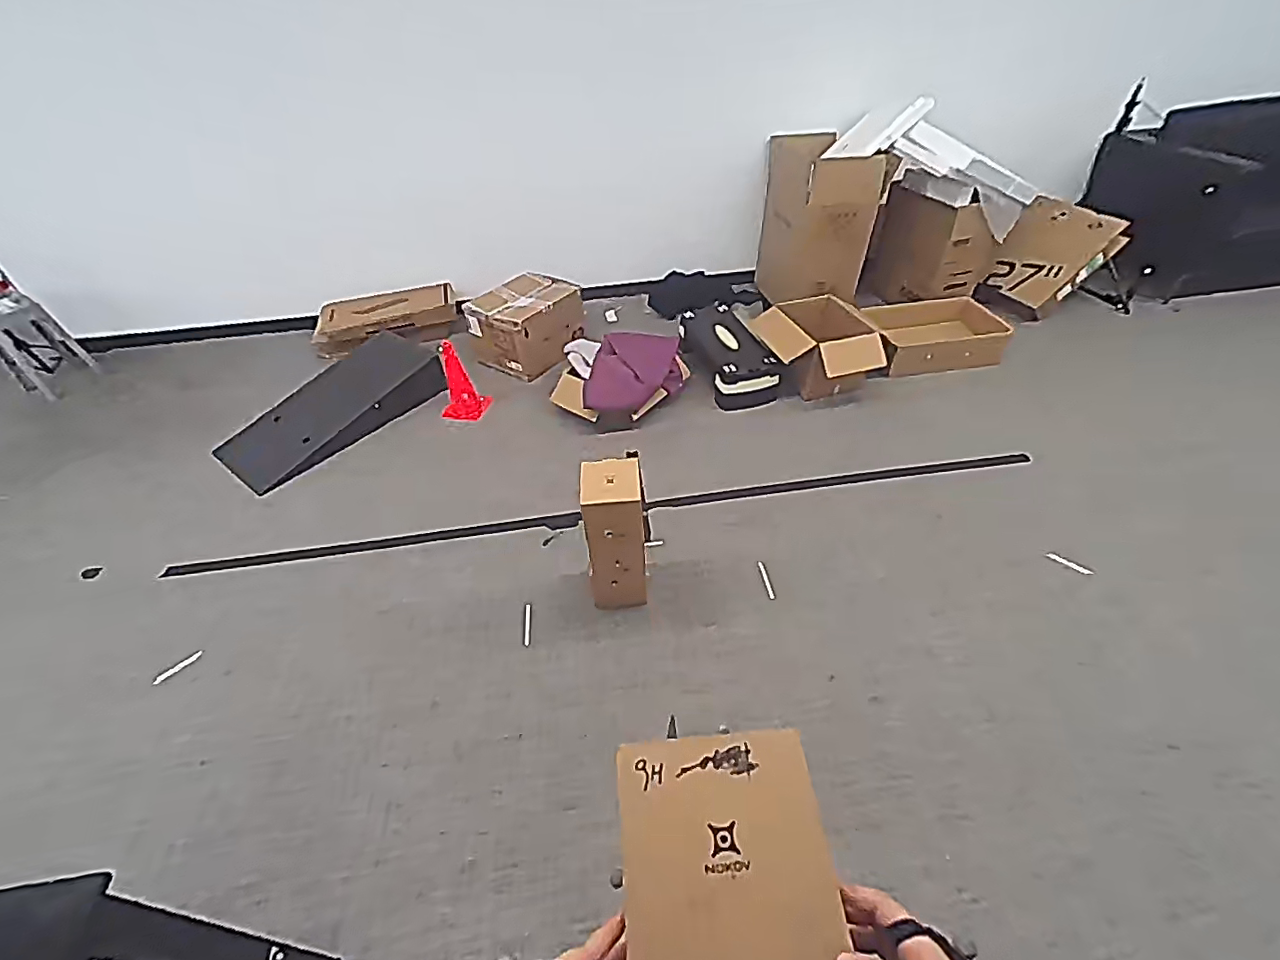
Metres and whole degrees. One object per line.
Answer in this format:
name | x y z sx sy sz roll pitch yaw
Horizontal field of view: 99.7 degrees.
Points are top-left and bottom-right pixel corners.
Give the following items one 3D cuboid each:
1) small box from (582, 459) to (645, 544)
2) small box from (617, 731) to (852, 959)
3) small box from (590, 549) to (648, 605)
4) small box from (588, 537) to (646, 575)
small box | -0.074 0.061 1.546 0.168 0.176 0.179 -5 44 0
small box | 0.070 0.346 0.490 0.168 0.176 0.179 -4 51 -2
small box | -0.068 0.295 1.775 0.179 0.176 0.168 -4 43 -1
small box | -0.069 0.171 1.667 0.168 0.176 0.179 -5 43 -1
